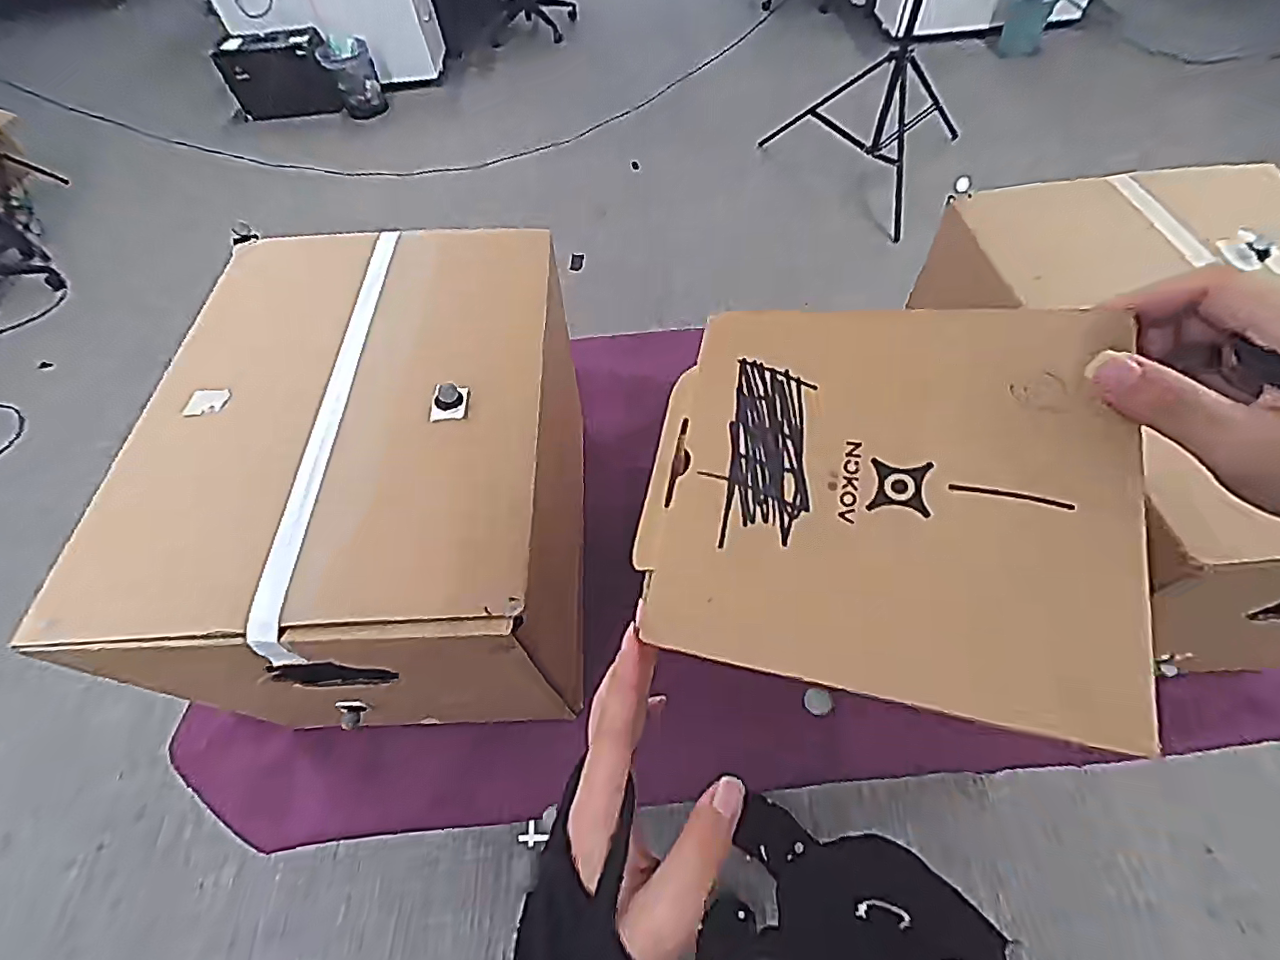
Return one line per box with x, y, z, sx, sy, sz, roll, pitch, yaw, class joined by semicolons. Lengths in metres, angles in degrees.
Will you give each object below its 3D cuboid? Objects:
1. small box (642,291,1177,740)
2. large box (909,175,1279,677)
0.122;0.023;0.285;0.179;0.176;0.168;7;72;21;small box
0.472;-0.037;0.541;0.320;0.320;0.408;-4;56;1;large box
